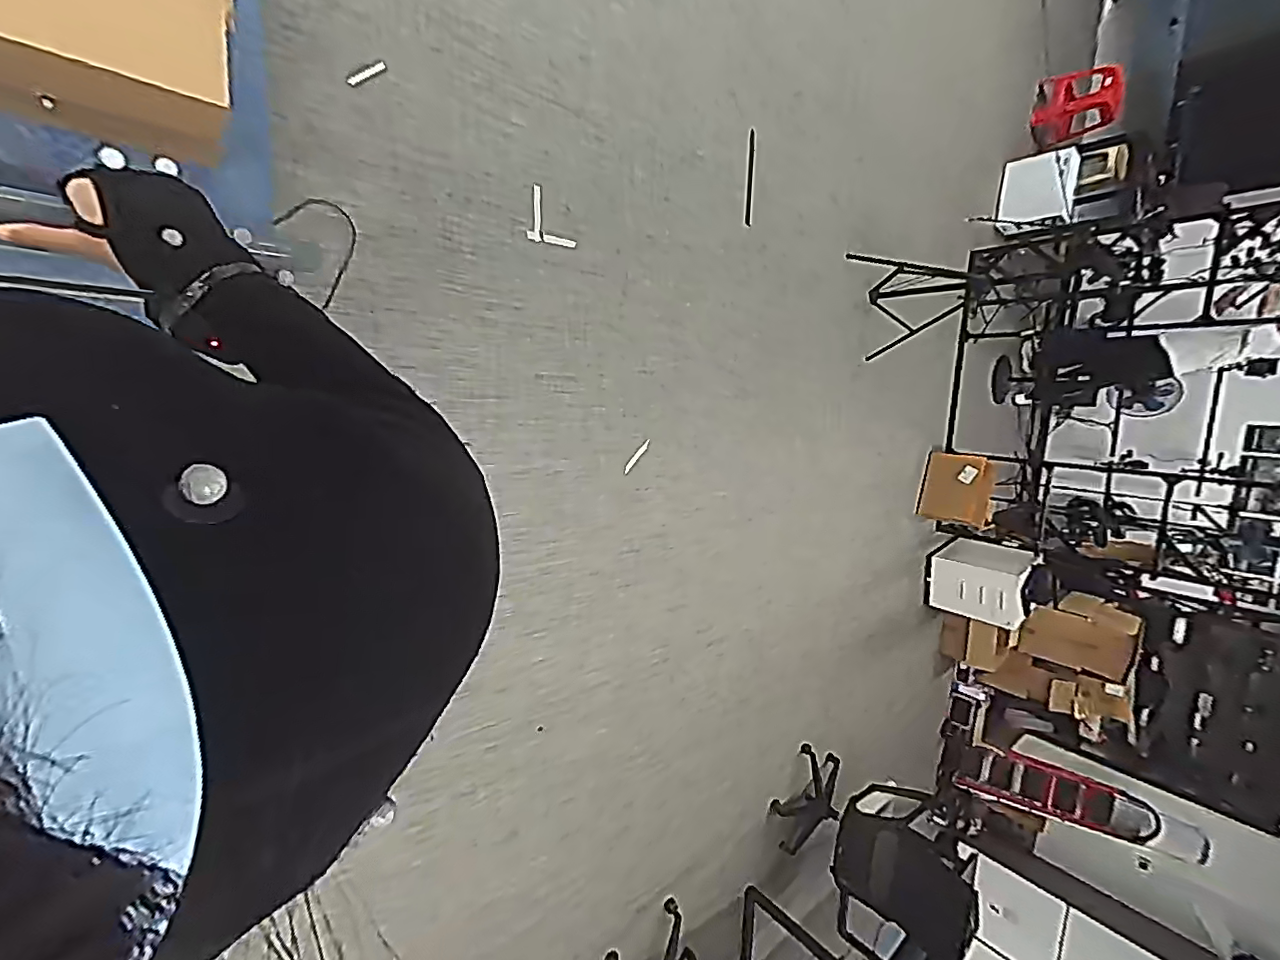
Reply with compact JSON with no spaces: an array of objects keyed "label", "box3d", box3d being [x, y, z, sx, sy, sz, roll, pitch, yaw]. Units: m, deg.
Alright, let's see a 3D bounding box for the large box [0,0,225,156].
[{"label":"large box","box3d":[-0.849,-0.713,0.753,0.408,0.320,0.320,-4,100,-40]}]
